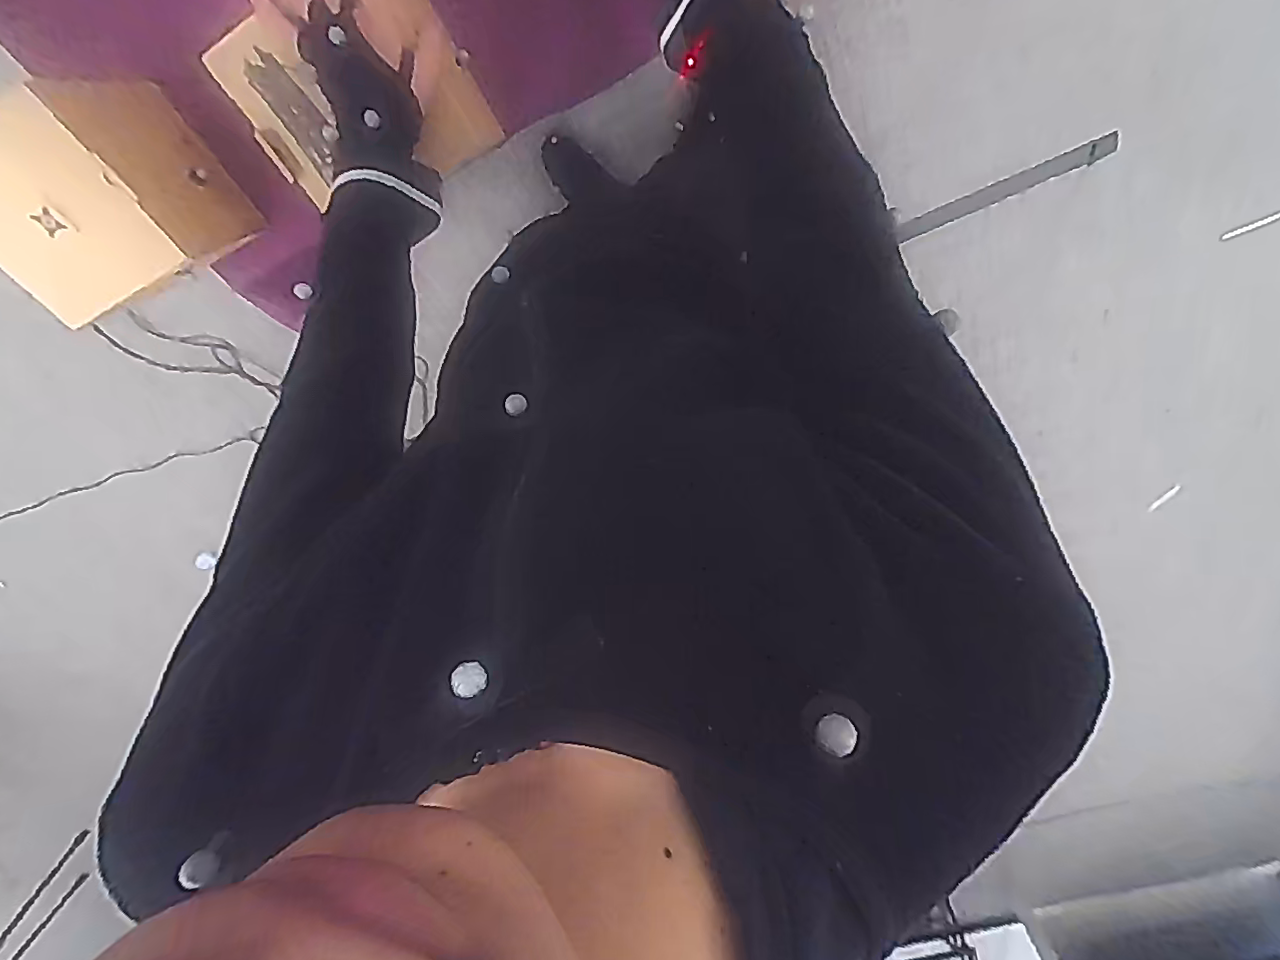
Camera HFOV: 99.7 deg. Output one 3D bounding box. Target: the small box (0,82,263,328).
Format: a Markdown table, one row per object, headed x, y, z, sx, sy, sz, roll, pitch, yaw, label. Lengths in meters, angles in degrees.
| x | y | z | sx | sy | sz | roll | pitch | yaw | label |
| --- | --- | --- | --- | --- | --- | --- | --- | --- | --- |
| -0.572 | -0.300 | 0.594 | 0.179 | 0.176 | 0.168 | -24 | 124 | 11 | small box |

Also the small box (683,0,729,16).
| x | y | z | sx | sy | sz | roll | pitch | yaw | label |
| --- | --- | --- | --- | --- | --- | --- | --- | --- | --- |
| 0.091 | -0.544 | 0.460 | 0.168 | 0.176 | 0.179 | -25 | 125 | 13 | small box |
